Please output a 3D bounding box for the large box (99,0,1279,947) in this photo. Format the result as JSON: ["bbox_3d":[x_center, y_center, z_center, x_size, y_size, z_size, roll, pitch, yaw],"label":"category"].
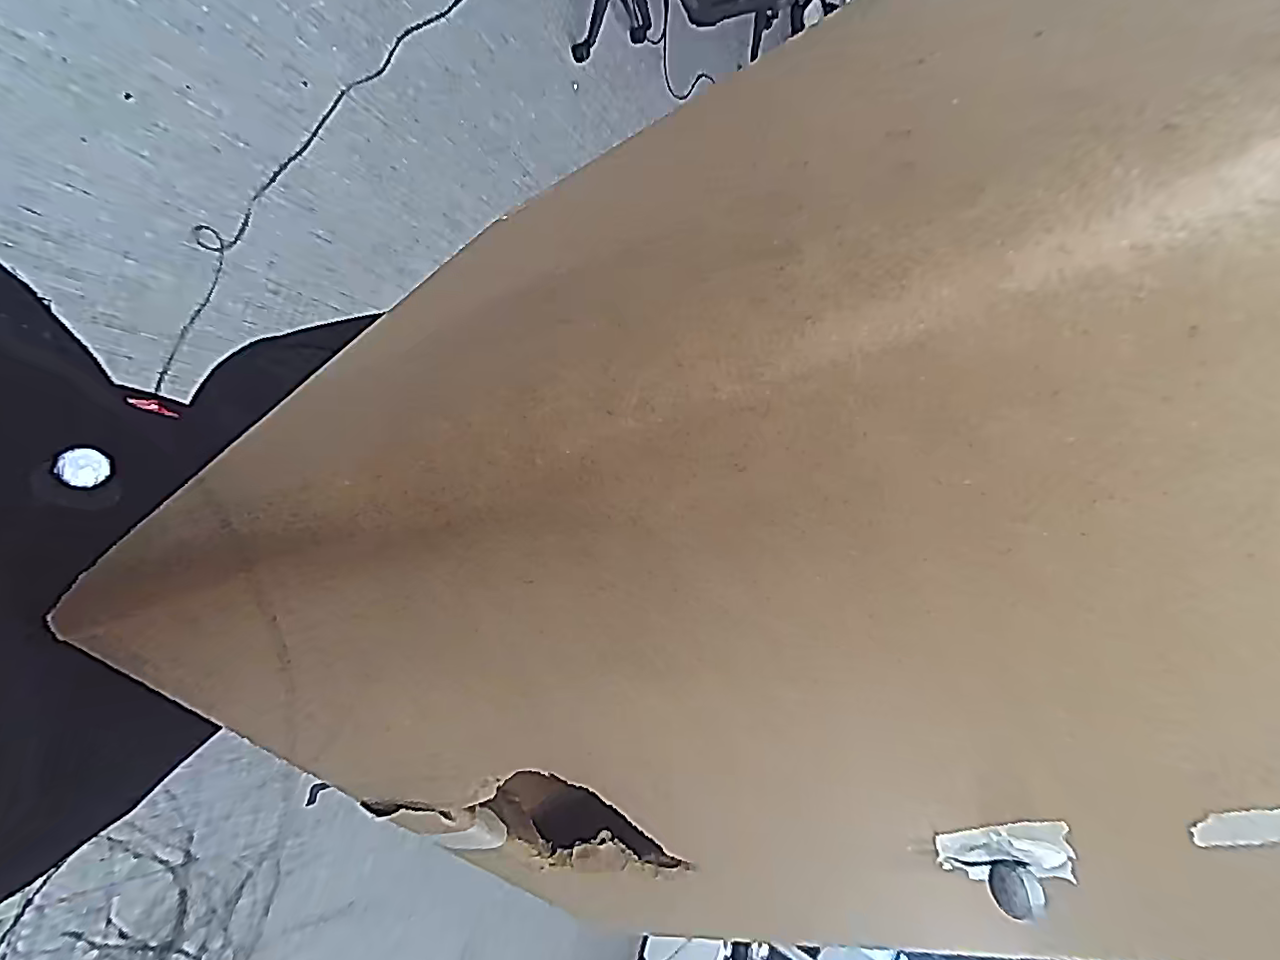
[{"bbox_3d":[0.061,-0.021,0.330,0.320,0.320,0.408,58,27,-32],"label":"large box"}]
